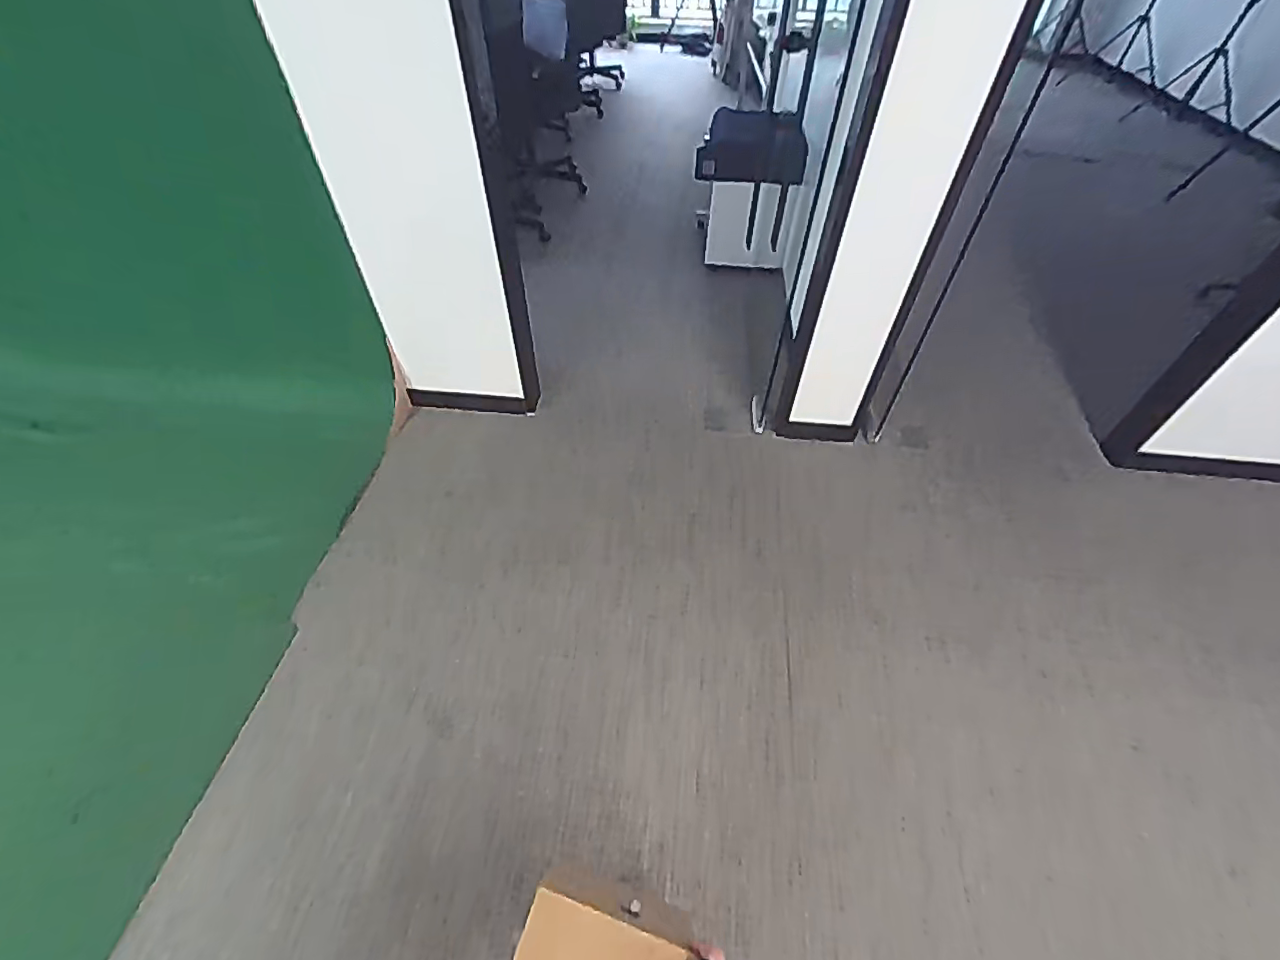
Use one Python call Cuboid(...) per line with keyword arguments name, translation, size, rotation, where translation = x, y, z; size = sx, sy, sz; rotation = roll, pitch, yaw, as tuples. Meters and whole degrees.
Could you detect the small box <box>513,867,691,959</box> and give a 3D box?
Cuboid(name="small box", translation=(-0.049, 0.541, 0.567), size=(0.179, 0.176, 0.168), rotation=(18, 65, 9))
